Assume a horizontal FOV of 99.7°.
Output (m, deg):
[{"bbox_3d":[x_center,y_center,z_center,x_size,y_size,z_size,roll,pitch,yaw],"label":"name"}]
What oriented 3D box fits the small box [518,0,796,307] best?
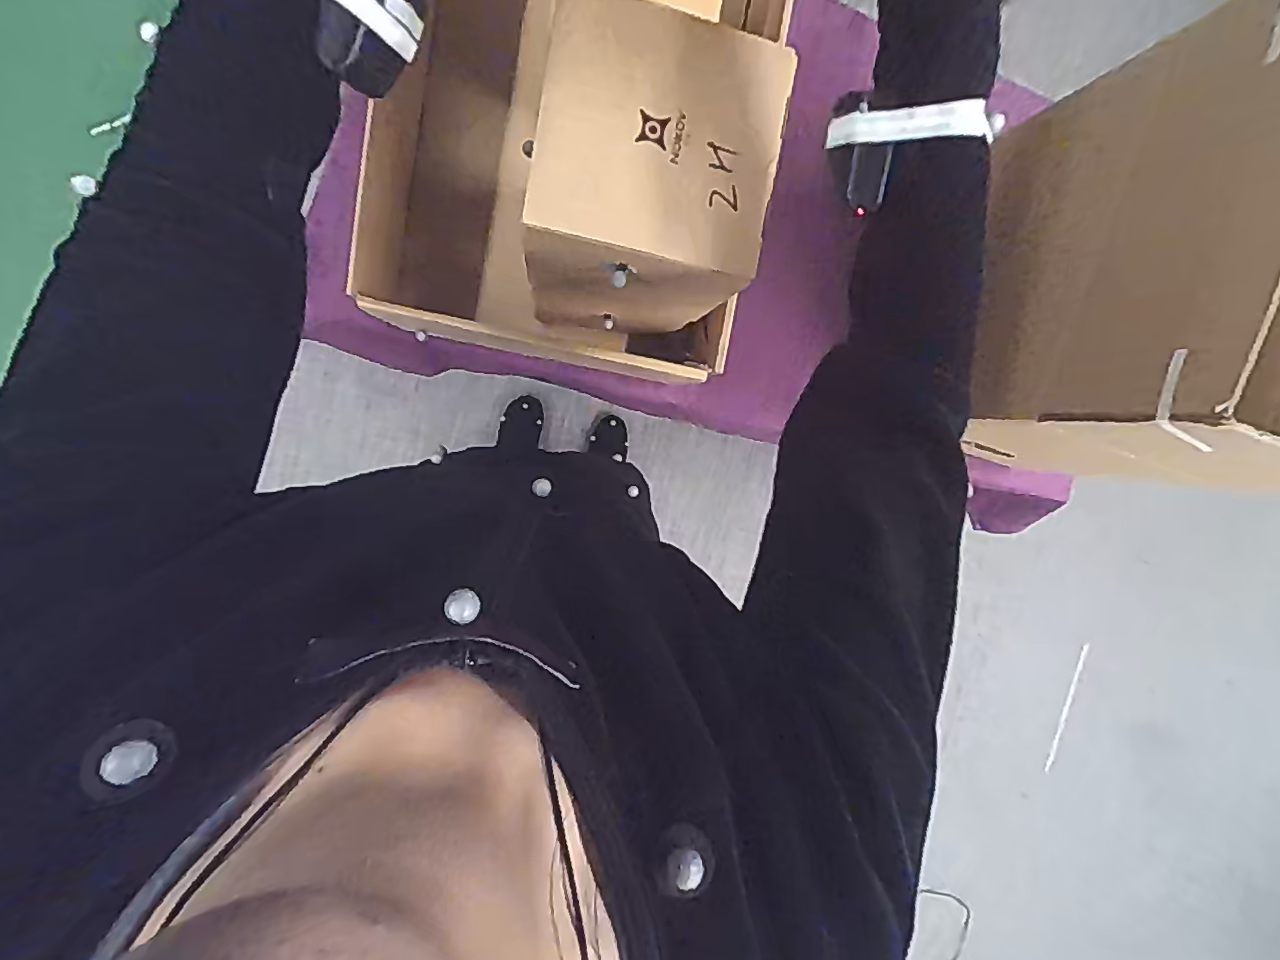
[{"bbox_3d":[0.002,-0.257,0.459,0.179,0.176,0.168,10,96,-11],"label":"small box"}]
